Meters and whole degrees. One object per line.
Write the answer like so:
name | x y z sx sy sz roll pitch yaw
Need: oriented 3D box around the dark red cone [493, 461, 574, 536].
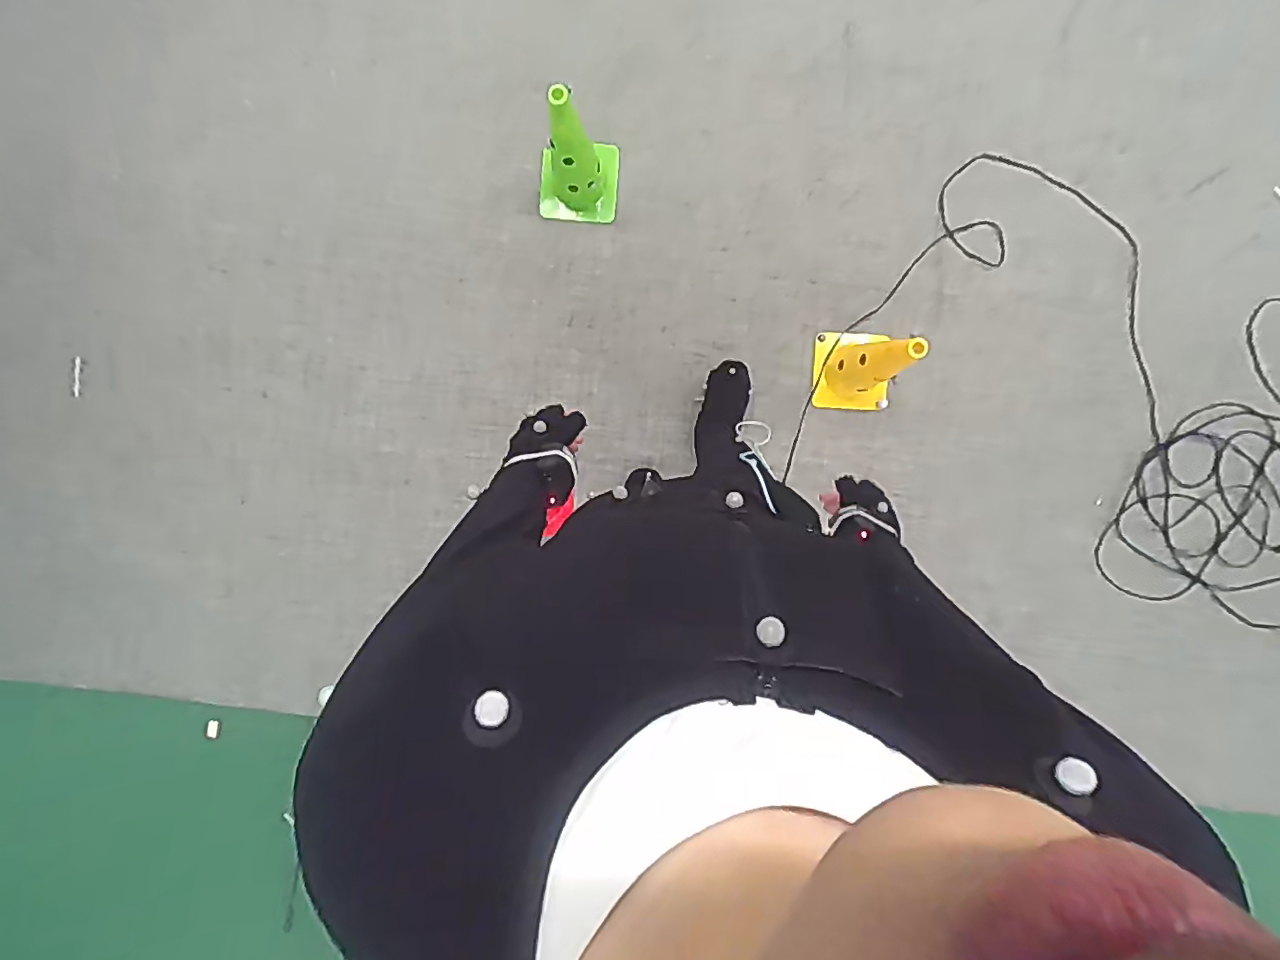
dark red cone | -0.279 0.065 1.277 0.202 0.394 0.201 1 95 1

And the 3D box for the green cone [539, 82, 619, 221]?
green cone | -0.158 -0.773 1.242 0.202 0.368 0.200 4 94 -1

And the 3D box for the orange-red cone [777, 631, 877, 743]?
orange-red cone | 0.483 0.529 1.323 0.198 0.360 0.199 6 93 -1
